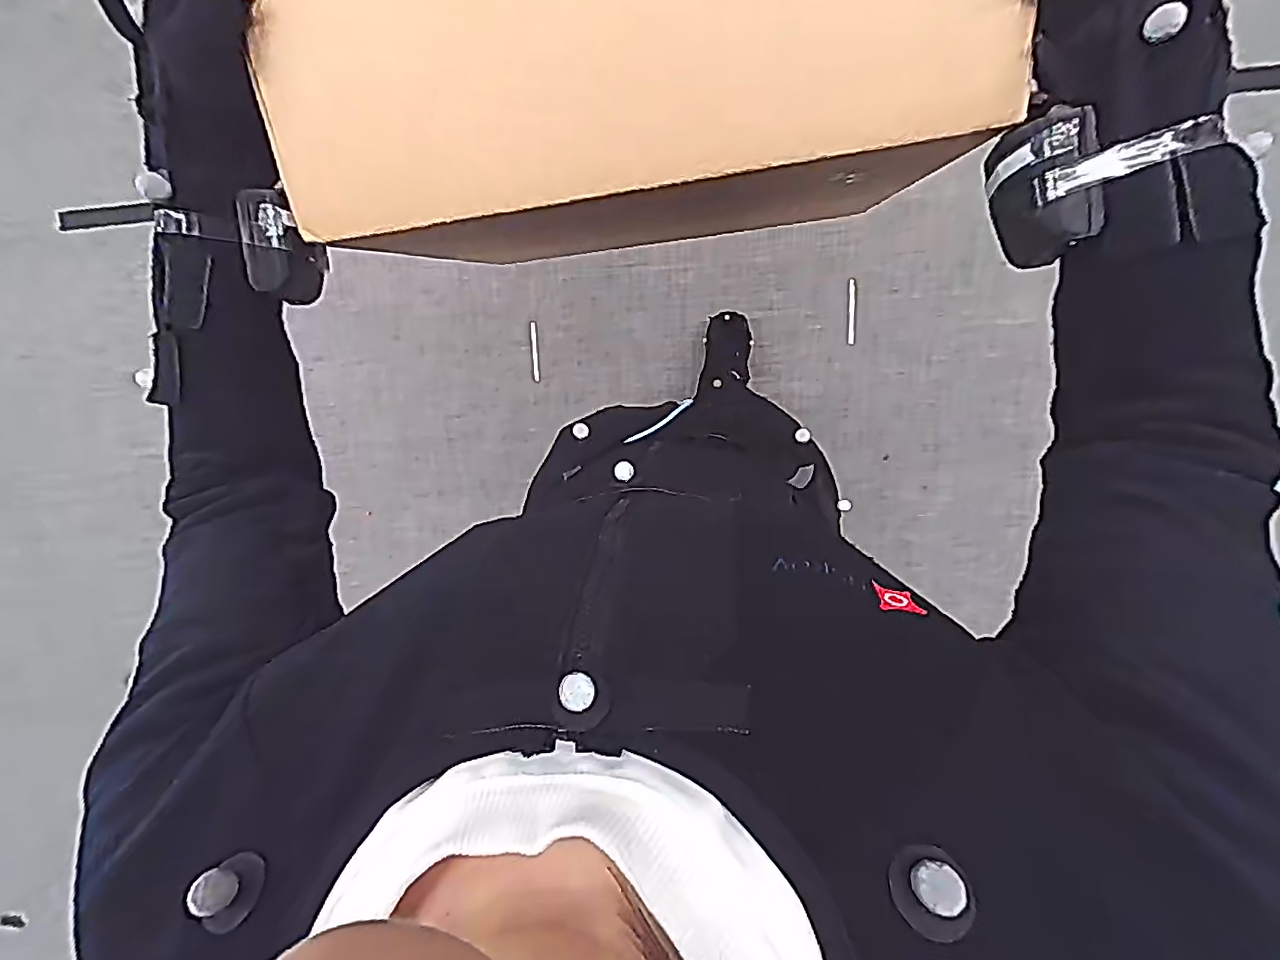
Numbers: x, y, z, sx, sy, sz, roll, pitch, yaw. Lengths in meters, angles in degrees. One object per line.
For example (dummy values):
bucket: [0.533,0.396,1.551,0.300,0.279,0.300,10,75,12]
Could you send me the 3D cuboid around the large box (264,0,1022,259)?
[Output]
large box: [-0.005,-0.368,0.405,0.408,0.320,0.320,-5,109,9]
